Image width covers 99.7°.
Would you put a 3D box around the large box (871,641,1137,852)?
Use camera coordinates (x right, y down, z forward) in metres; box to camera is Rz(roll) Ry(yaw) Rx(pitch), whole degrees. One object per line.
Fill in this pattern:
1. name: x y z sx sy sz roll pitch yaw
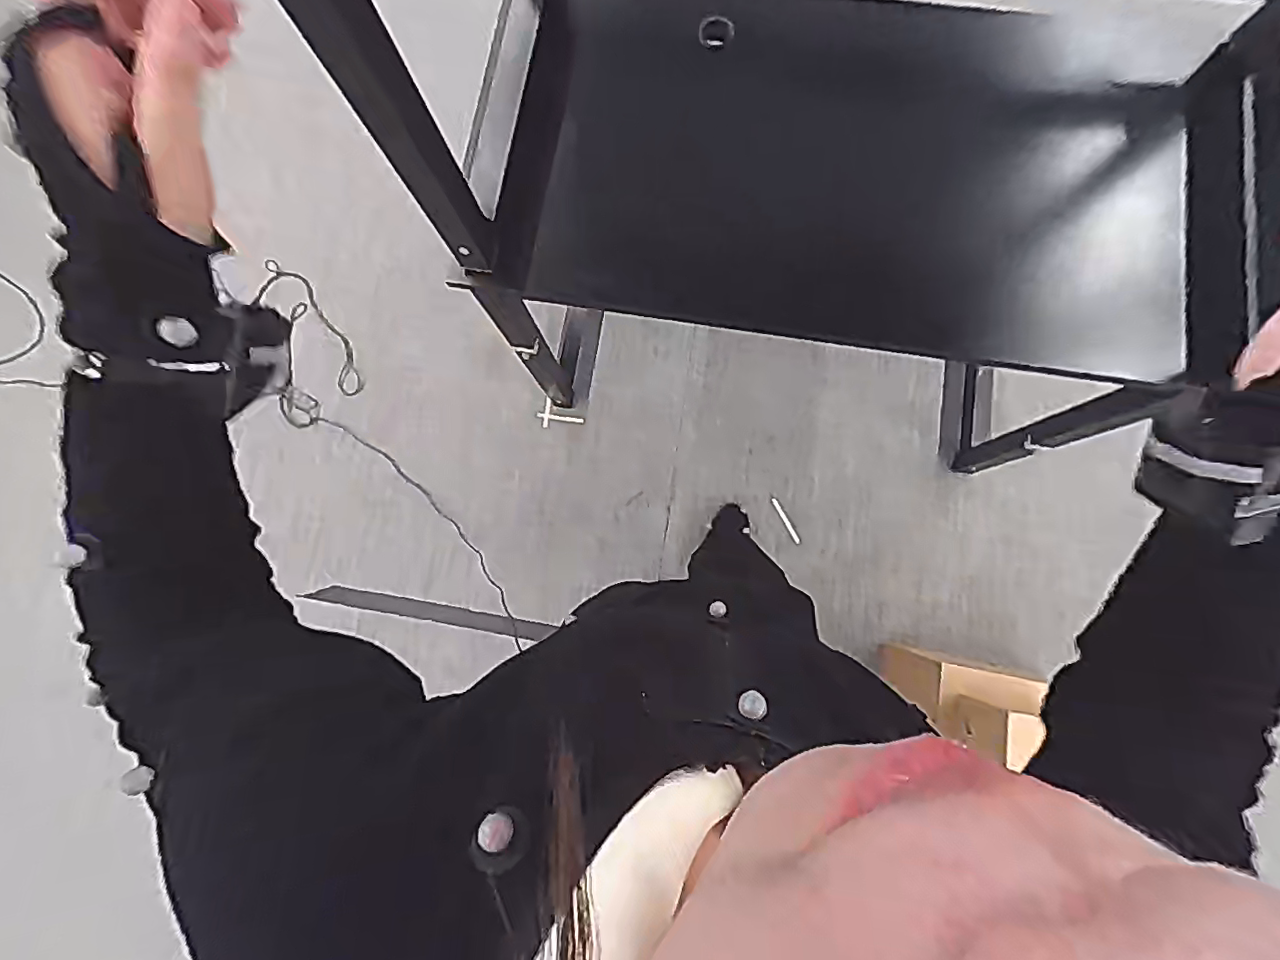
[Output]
1. large box: 0.801 0.578 1.246 0.408 0.320 0.320 10 83 4

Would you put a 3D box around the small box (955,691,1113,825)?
1. small box: 0.727 0.507 1.012 0.179 0.176 0.168 9 80 5
